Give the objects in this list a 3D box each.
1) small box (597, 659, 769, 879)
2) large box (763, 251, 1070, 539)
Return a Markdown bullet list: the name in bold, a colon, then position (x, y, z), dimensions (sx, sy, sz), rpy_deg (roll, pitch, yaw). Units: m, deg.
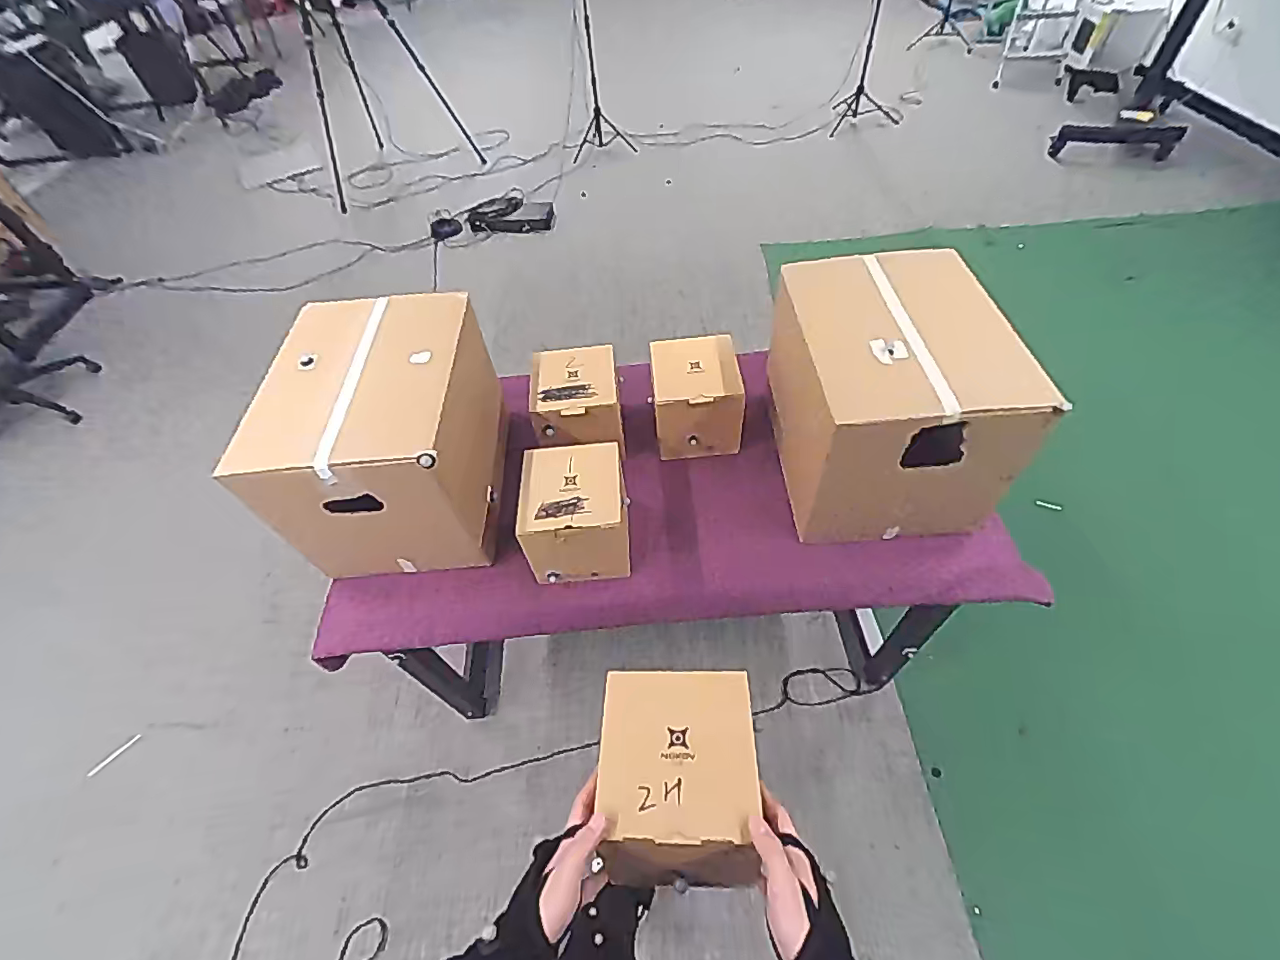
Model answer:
- **small box**: position (0.050, 0.330, 0.624), dimensions (0.168, 0.176, 0.179), rpy_deg (-2, 41, 5)
- **large box**: position (0.424, -0.150, 0.962), dimensions (0.320, 0.320, 0.408), rpy_deg (-5, 53, 2)
